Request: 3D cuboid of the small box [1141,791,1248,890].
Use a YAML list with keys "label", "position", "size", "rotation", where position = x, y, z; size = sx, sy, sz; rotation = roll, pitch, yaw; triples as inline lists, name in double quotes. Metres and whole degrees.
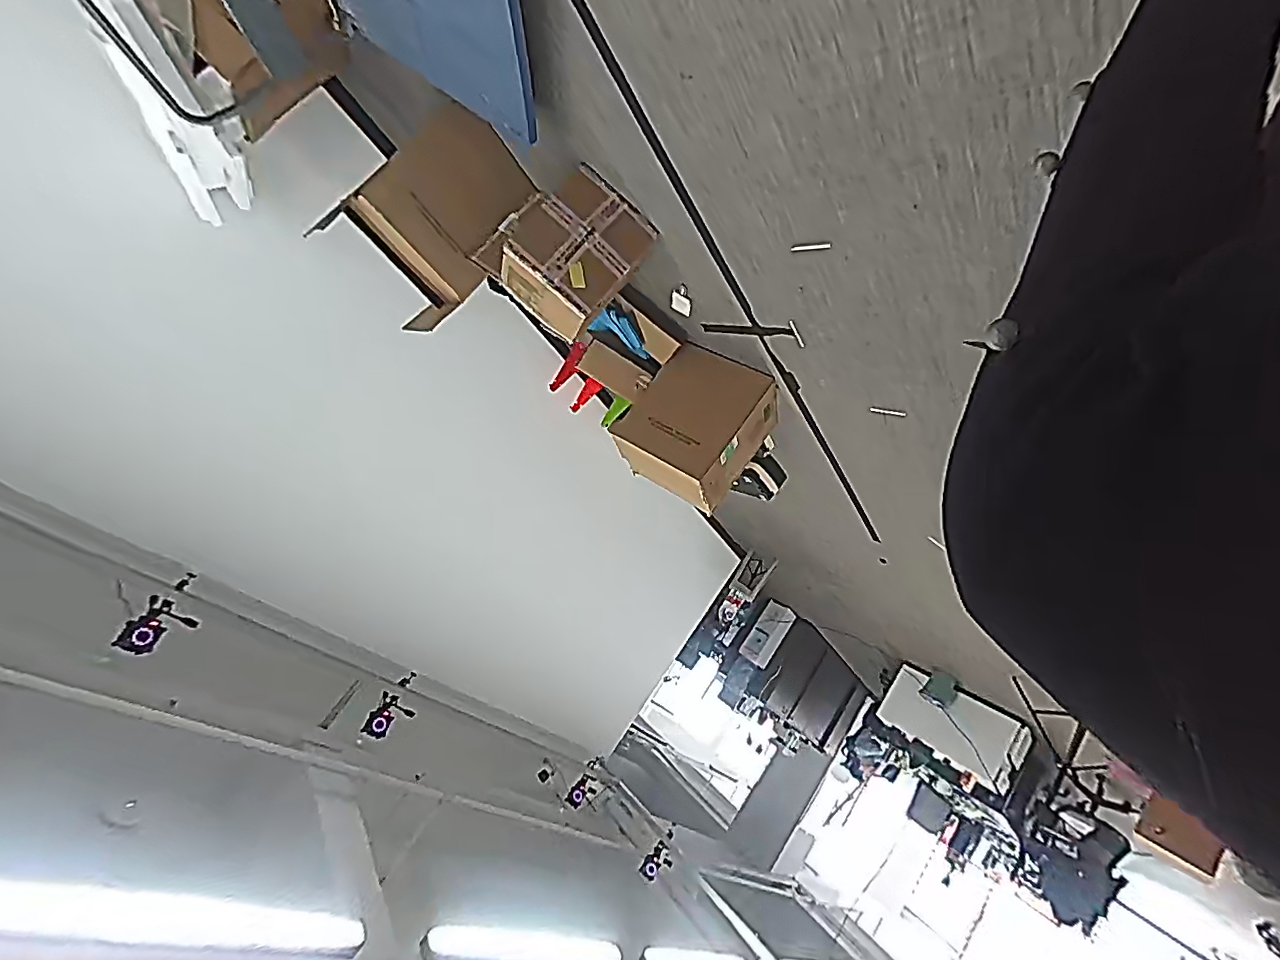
- label: "small box"
  position: [1.627, 1.051, 1.593]
  size: [0.179, 0.176, 0.168]
  rotation: [22, 160, 50]
